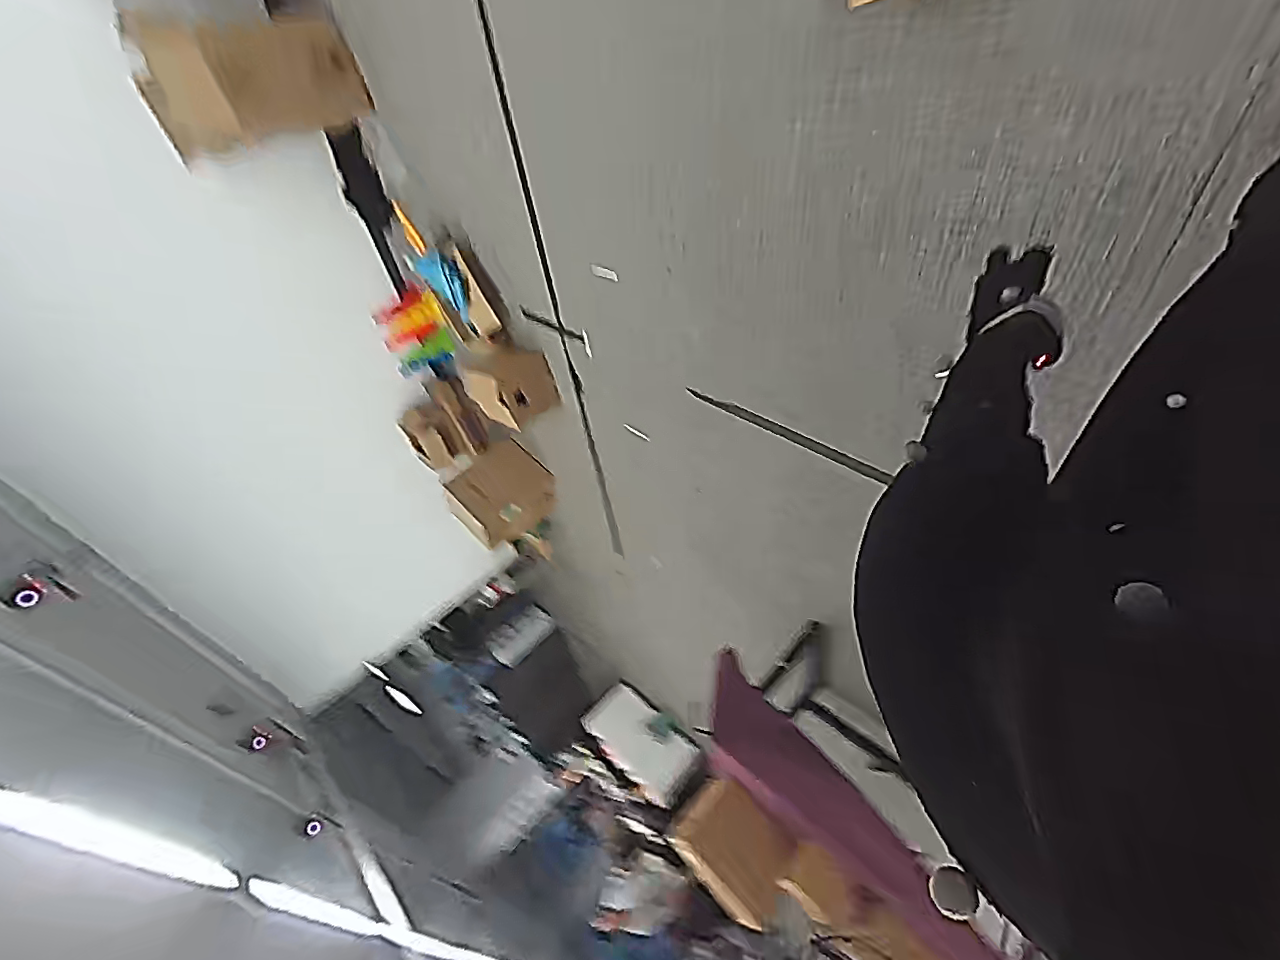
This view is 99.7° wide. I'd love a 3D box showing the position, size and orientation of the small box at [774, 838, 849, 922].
[{"bbox_3d":[0.598,1.391,1.884,0.168,0.176,0.179,38,150,26],"label":"small box"}]
